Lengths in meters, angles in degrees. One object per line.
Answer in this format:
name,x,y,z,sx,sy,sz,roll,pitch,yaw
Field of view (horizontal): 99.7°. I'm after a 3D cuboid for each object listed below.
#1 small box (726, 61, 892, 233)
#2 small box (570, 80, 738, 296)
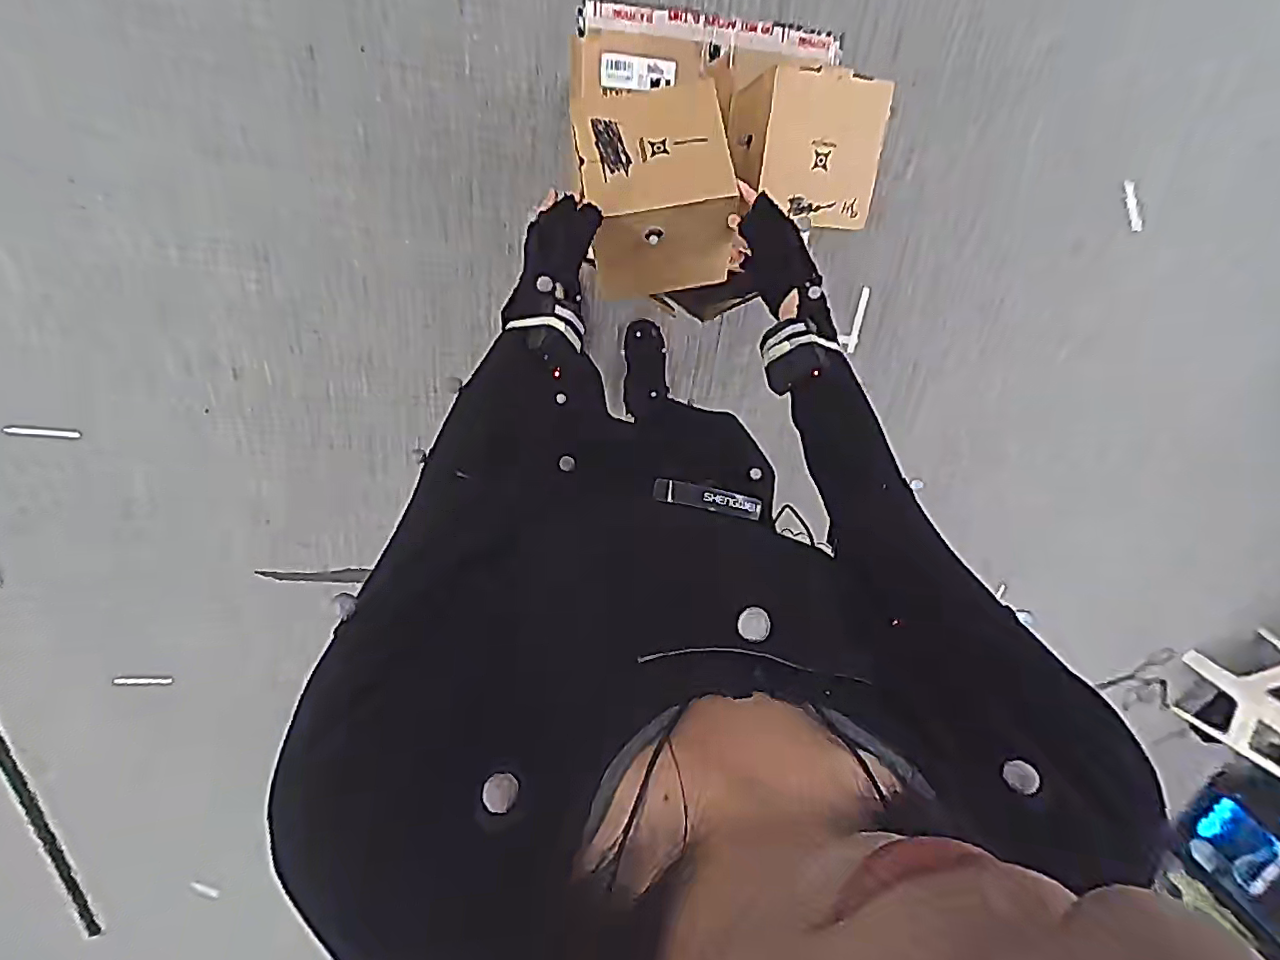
small box,0.220,-0.457,0.771,0.168,0.176,0.179,0,113,-11
small box,0.018,-0.358,0.692,0.179,0.176,0.168,-9,76,1
